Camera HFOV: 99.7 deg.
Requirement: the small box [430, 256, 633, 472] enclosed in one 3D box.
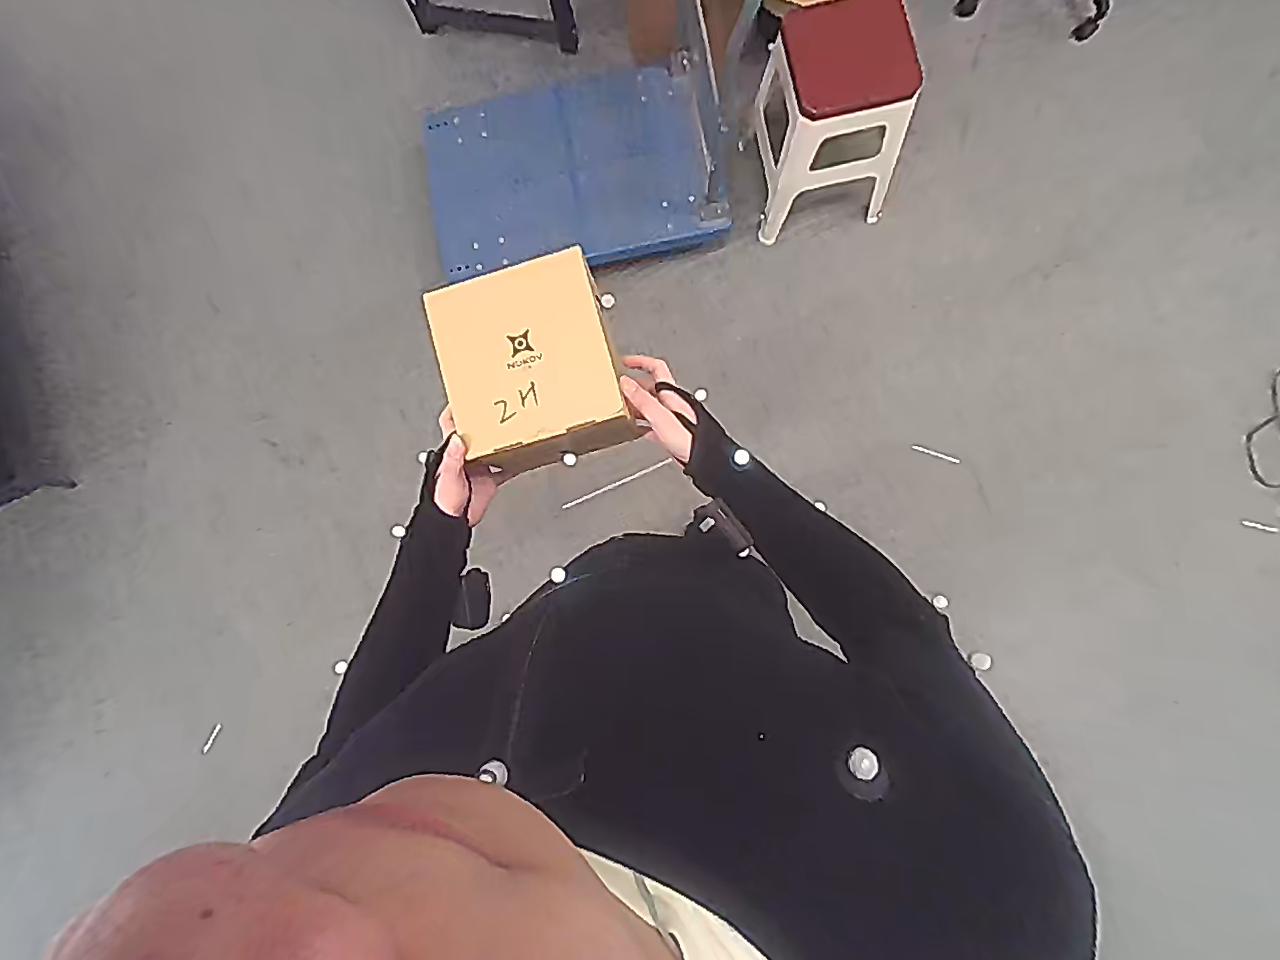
[{"bbox_3d":[-0.110,-0.117,0.616,0.168,0.176,0.179,-15,85,3],"label":"small box"}]
